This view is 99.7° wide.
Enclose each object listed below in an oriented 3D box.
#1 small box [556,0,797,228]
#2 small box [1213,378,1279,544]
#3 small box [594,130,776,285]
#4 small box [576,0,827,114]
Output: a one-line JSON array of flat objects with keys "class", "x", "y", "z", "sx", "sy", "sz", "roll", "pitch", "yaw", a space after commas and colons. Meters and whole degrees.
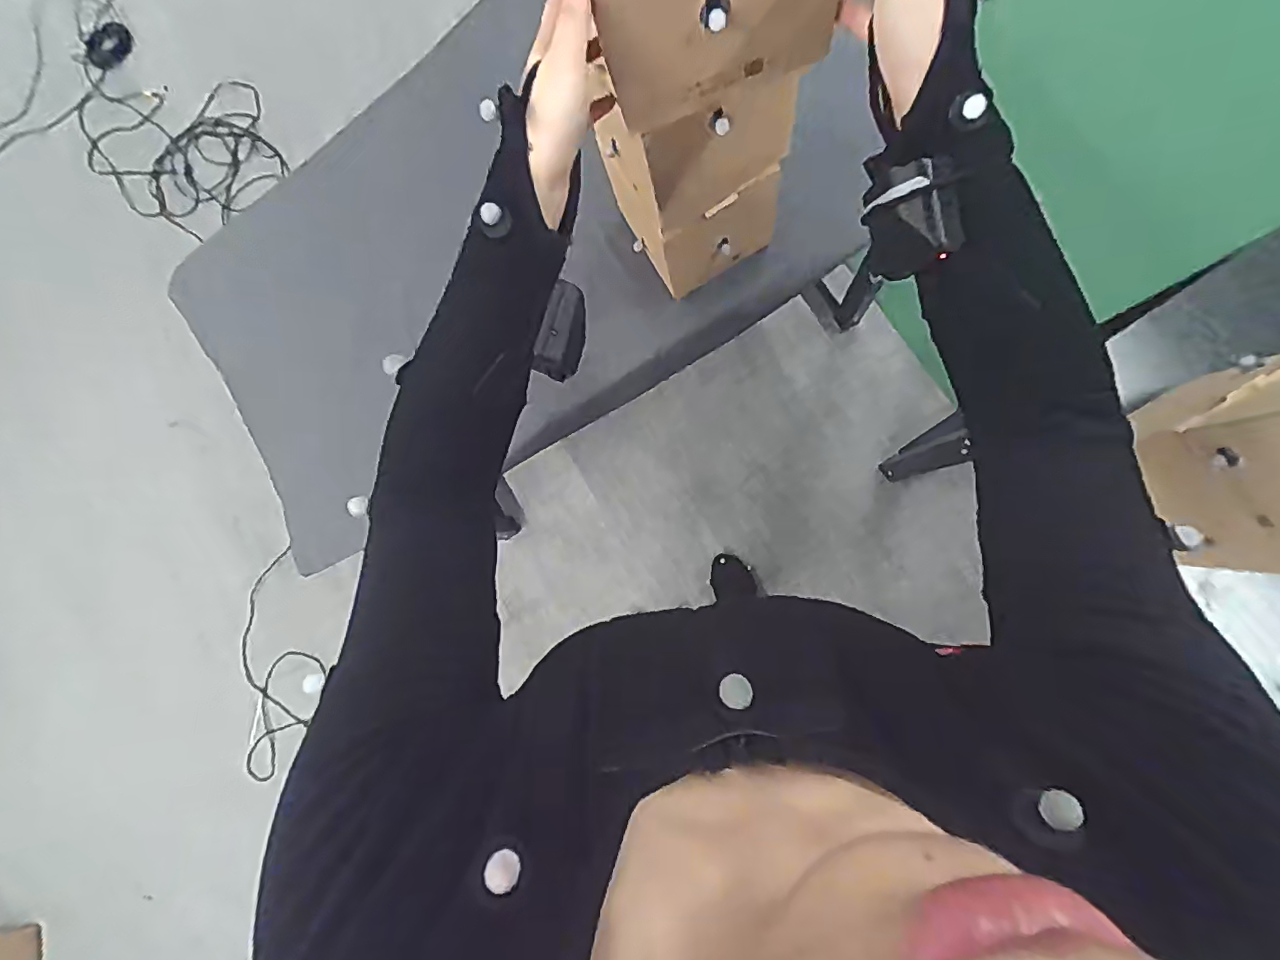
[{"class": "small box", "x": 0.045, "y": -0.413, "z": 0.569, "sx": 0.179, "sy": 0.176, "sz": 0.168, "roll": -33, "pitch": 79, "yaw": 7}, {"class": "small box", "x": 0.643, "y": -0.031, "z": 0.438, "sx": 0.179, "sy": 0.176, "sz": 0.168, "roll": -31, "pitch": 82, "yaw": 5}, {"class": "small box", "x": 0.066, "y": -0.391, "z": 0.730, "sx": 0.168, "sy": 0.176, "sz": 0.179, "roll": -31, "pitch": 80, "yaw": 6}, {"class": "small box", "x": 0.026, "y": -0.385, "z": 0.354, "sx": 0.168, "sy": 0.176, "sz": 0.179, "roll": -16, "pitch": 82, "yaw": 10}]
